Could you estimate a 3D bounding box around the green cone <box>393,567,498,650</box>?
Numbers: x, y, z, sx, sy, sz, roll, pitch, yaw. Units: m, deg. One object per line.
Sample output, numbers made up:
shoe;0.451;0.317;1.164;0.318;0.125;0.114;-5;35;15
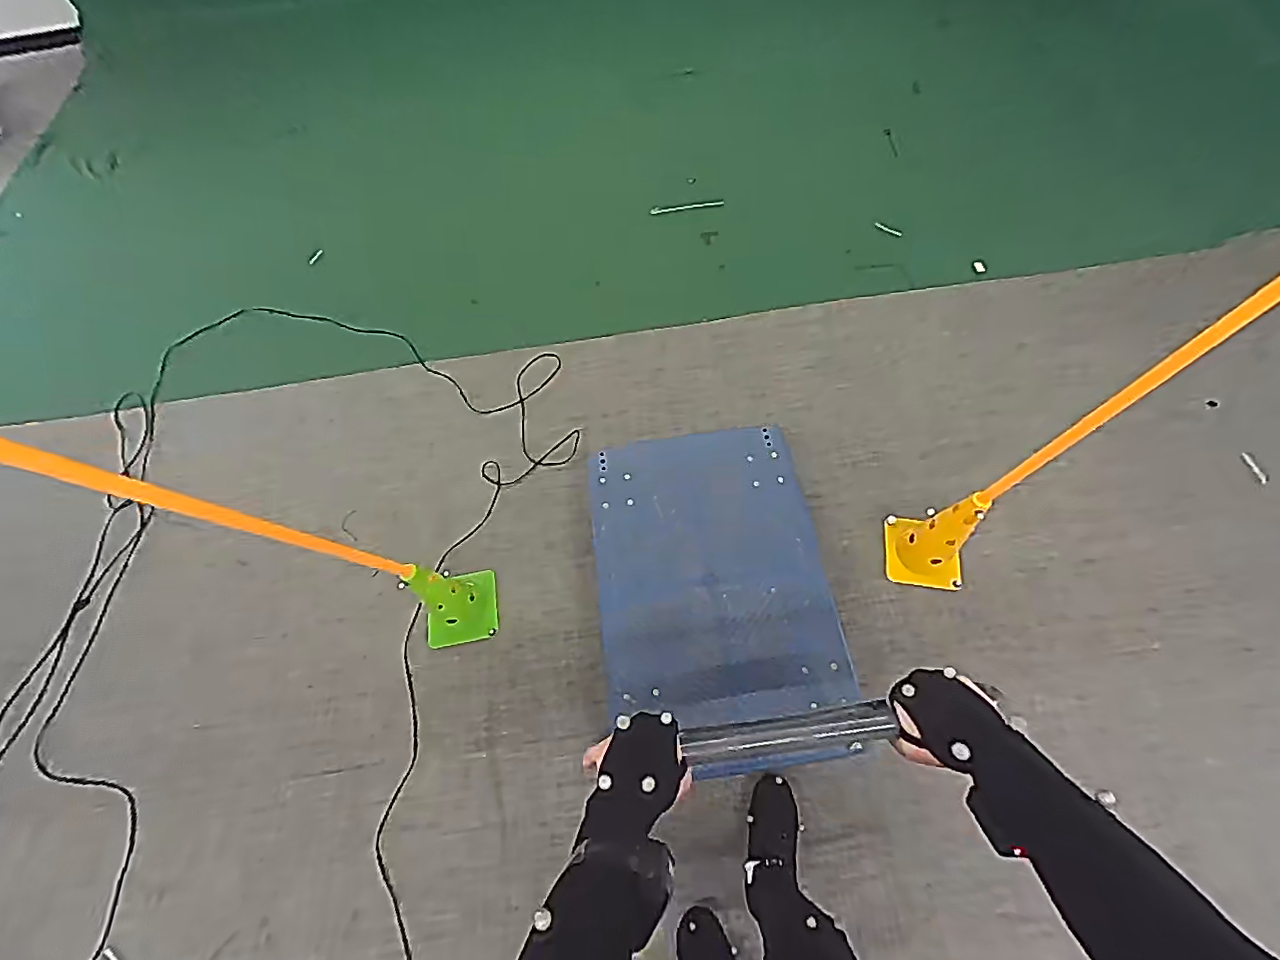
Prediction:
green cone;-0.532;0.296;1.412;0.202;0.368;0.200;-13;62;0
